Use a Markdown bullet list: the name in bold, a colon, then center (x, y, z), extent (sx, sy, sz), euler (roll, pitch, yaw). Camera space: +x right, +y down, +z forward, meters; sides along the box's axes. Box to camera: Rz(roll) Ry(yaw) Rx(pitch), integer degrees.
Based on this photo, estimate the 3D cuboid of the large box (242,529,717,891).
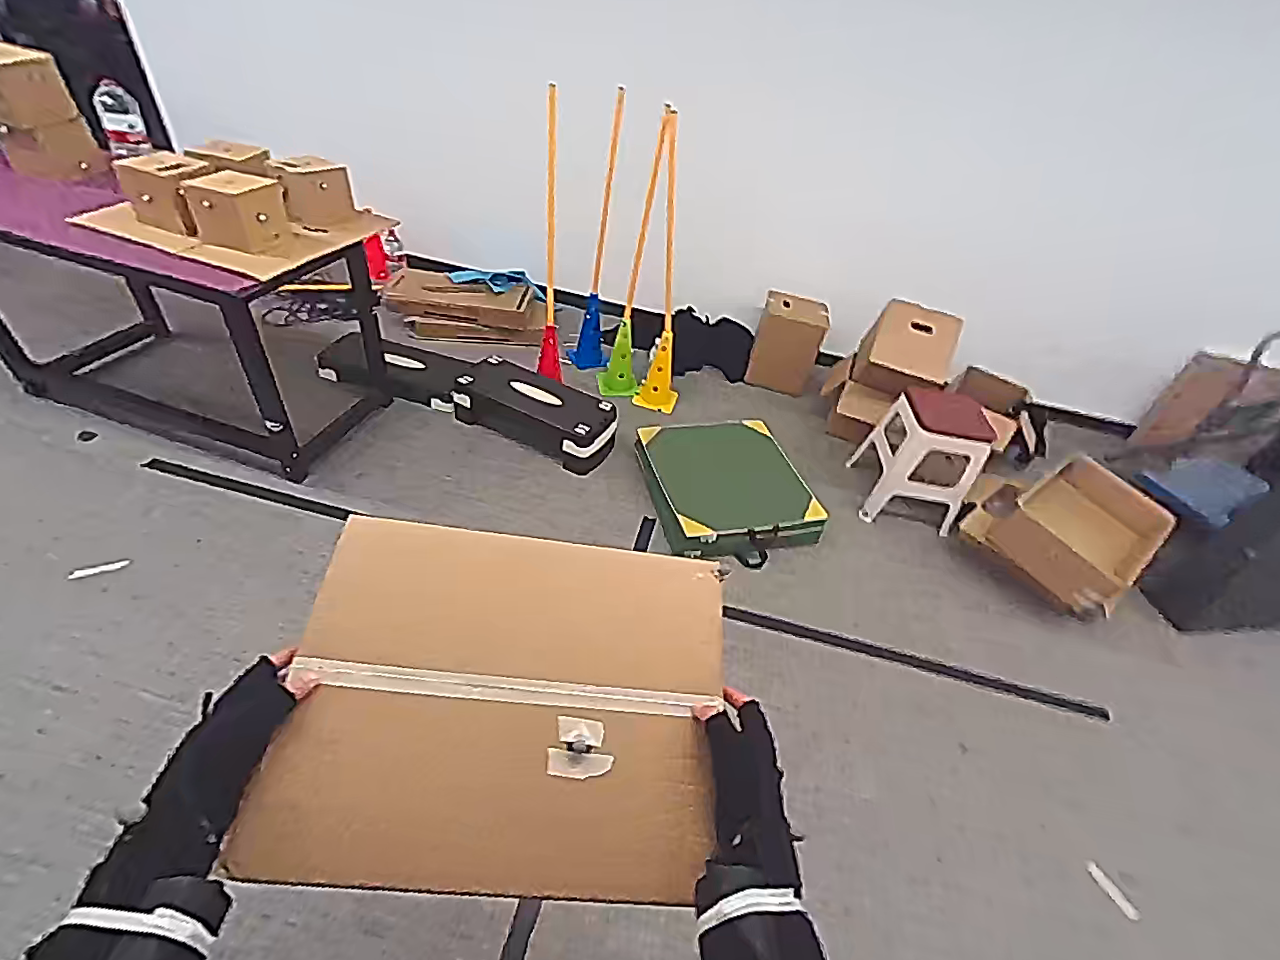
- **large box**: center (-0.146, 0.281, 0.657), extent (0.408, 0.320, 0.320), euler (8, 60, -7)
